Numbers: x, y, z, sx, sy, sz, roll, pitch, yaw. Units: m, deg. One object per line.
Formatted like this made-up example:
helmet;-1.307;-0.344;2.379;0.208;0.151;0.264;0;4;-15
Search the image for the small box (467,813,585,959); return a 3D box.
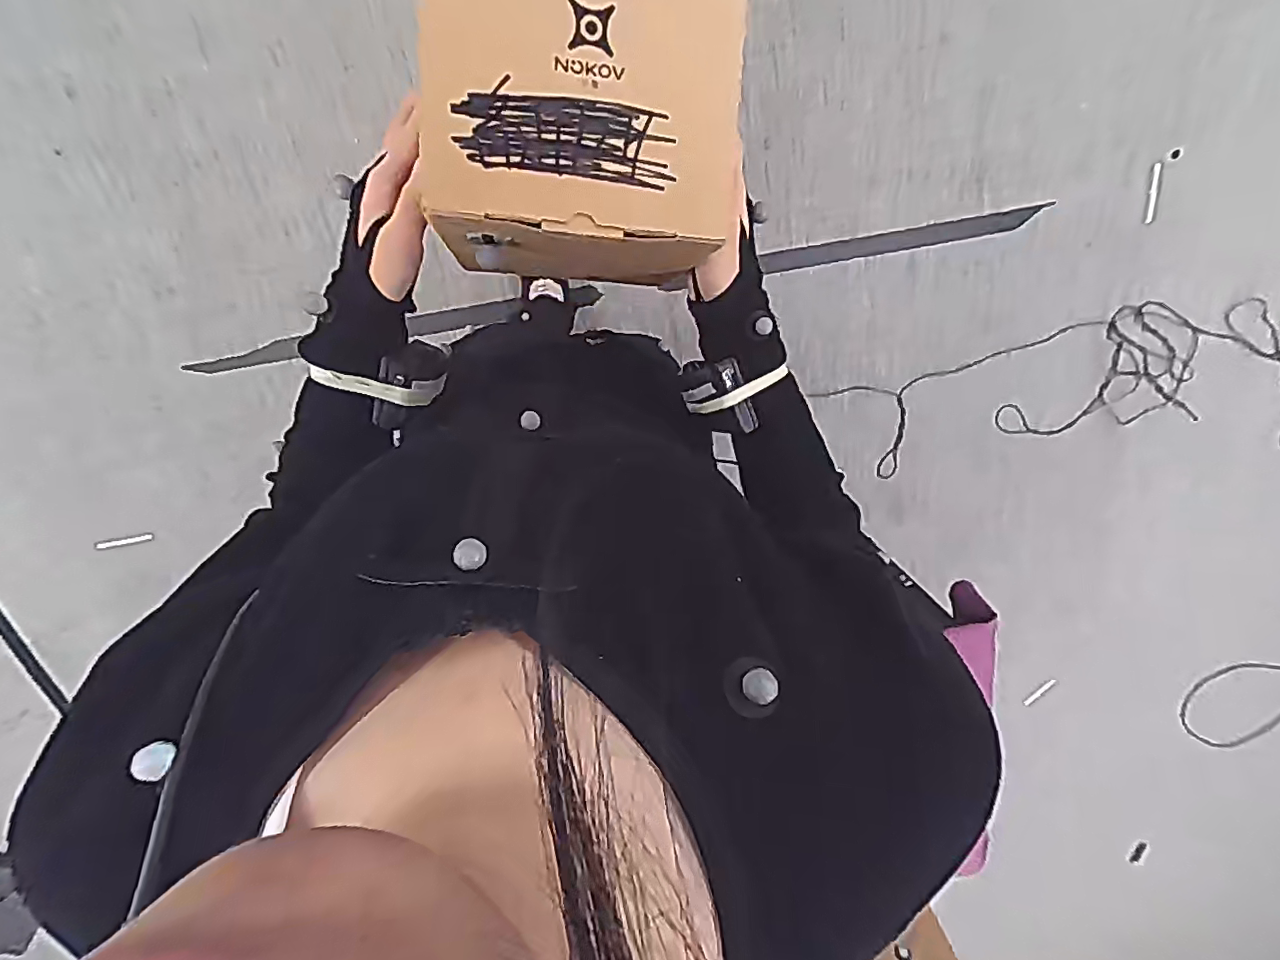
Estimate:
small box;-0.183;0.711;0.923;0.168;0.176;0.179;-6;111;-4
